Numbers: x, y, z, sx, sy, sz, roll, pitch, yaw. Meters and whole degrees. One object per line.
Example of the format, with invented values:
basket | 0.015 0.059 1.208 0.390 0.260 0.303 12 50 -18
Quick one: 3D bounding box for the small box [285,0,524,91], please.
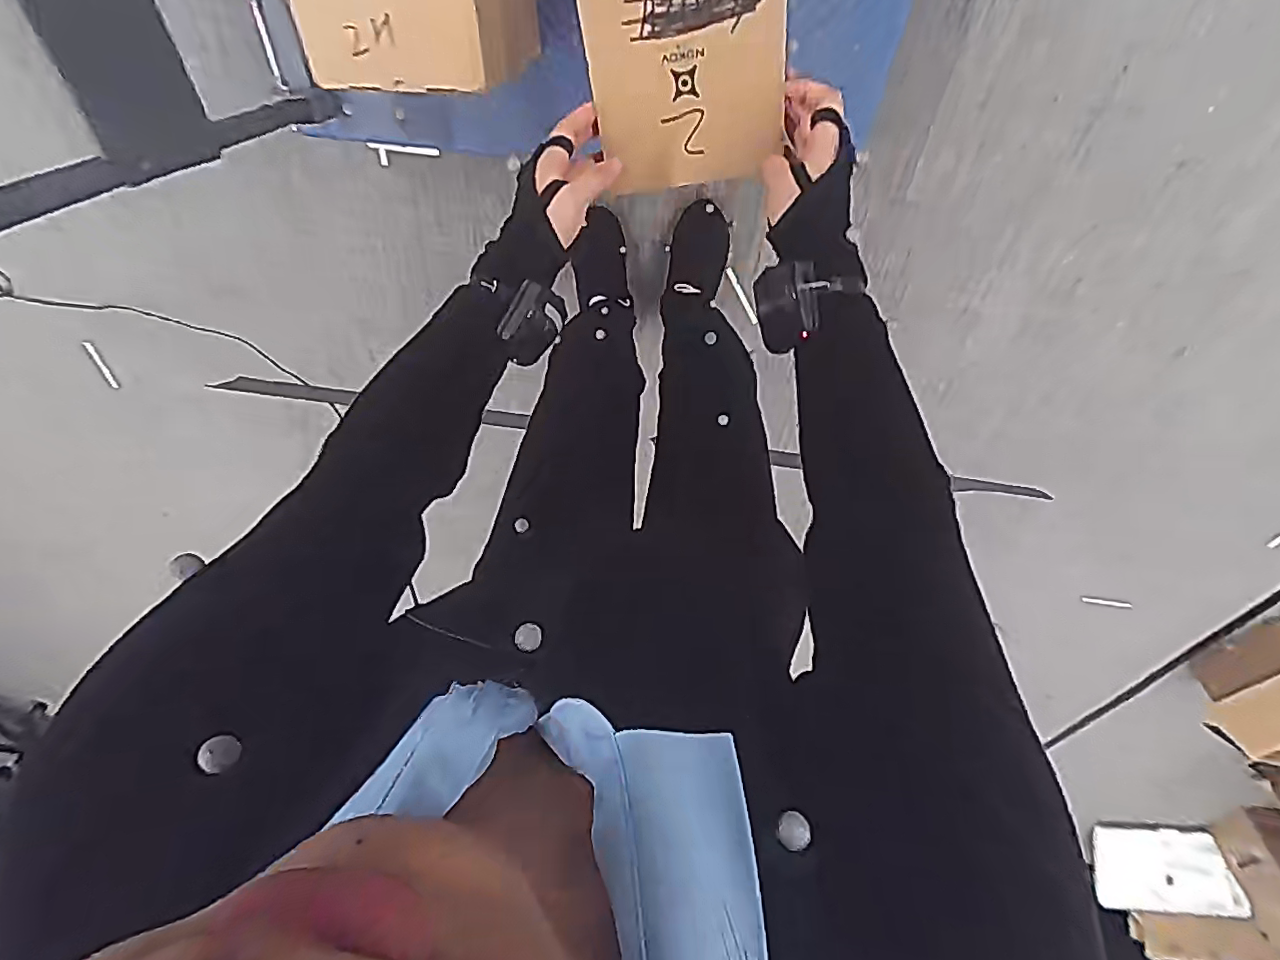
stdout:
small box | -0.214 -0.478 0.497 0.168 0.176 0.179 4 133 3
